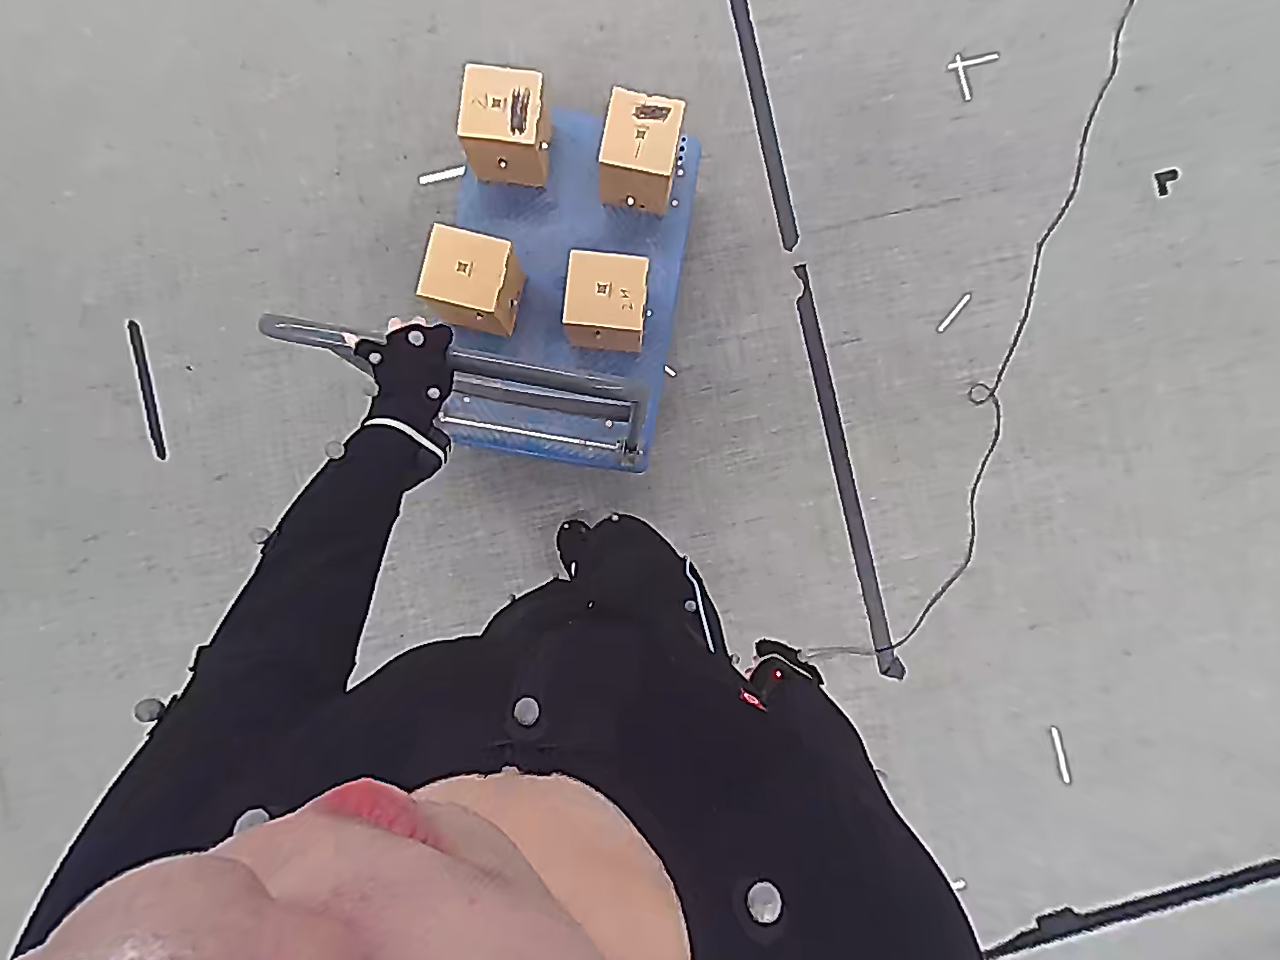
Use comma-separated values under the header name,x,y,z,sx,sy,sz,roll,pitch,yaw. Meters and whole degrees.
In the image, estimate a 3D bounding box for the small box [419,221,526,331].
name,x,y,z,sx,sy,sz,roll,pitch,yaw
small box,-0.376,-0.462,1.248,0.179,0.176,0.168,13,87,-2

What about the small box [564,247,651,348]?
name,x,y,z,sx,sy,sz,roll,pitch,yaw
small box,-0.071,-0.414,1.251,0.179,0.176,0.168,6,88,-1

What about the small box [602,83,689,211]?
name,x,y,z,sx,sy,sz,roll,pitch,yaw
small box,0.009,-0.770,1.266,0.168,0.176,0.179,12,89,0
